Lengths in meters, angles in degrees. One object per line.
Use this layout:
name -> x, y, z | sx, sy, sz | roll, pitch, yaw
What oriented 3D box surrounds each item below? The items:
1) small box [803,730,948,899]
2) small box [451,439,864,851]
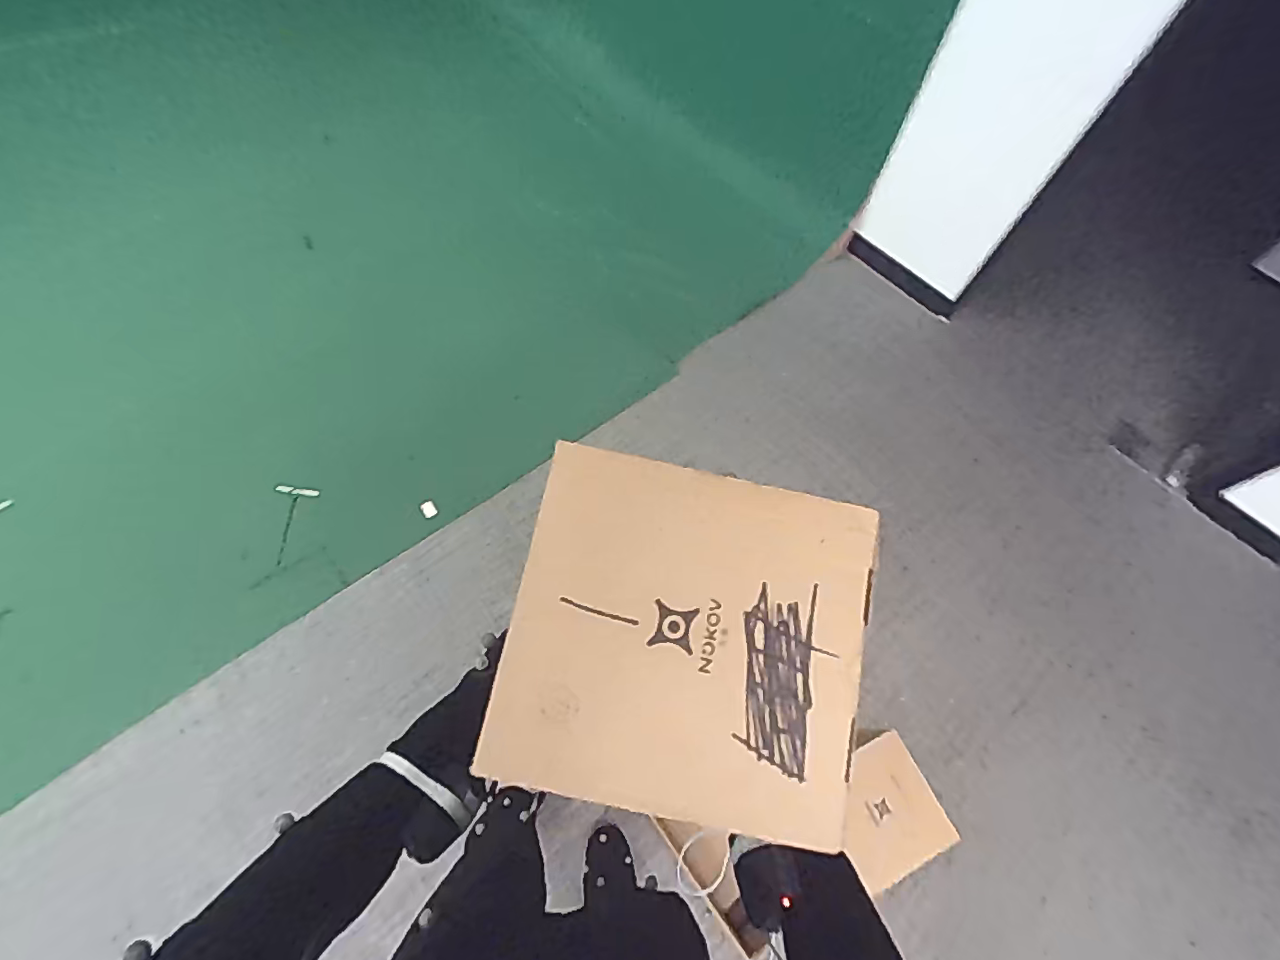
small box -> 0.334, 0.519, 0.864 | 0.179, 0.176, 0.168 | -20, 68, -13
small box -> 0.011, 0.092, 0.342 | 0.179, 0.176, 0.168 | 13, 76, 0
